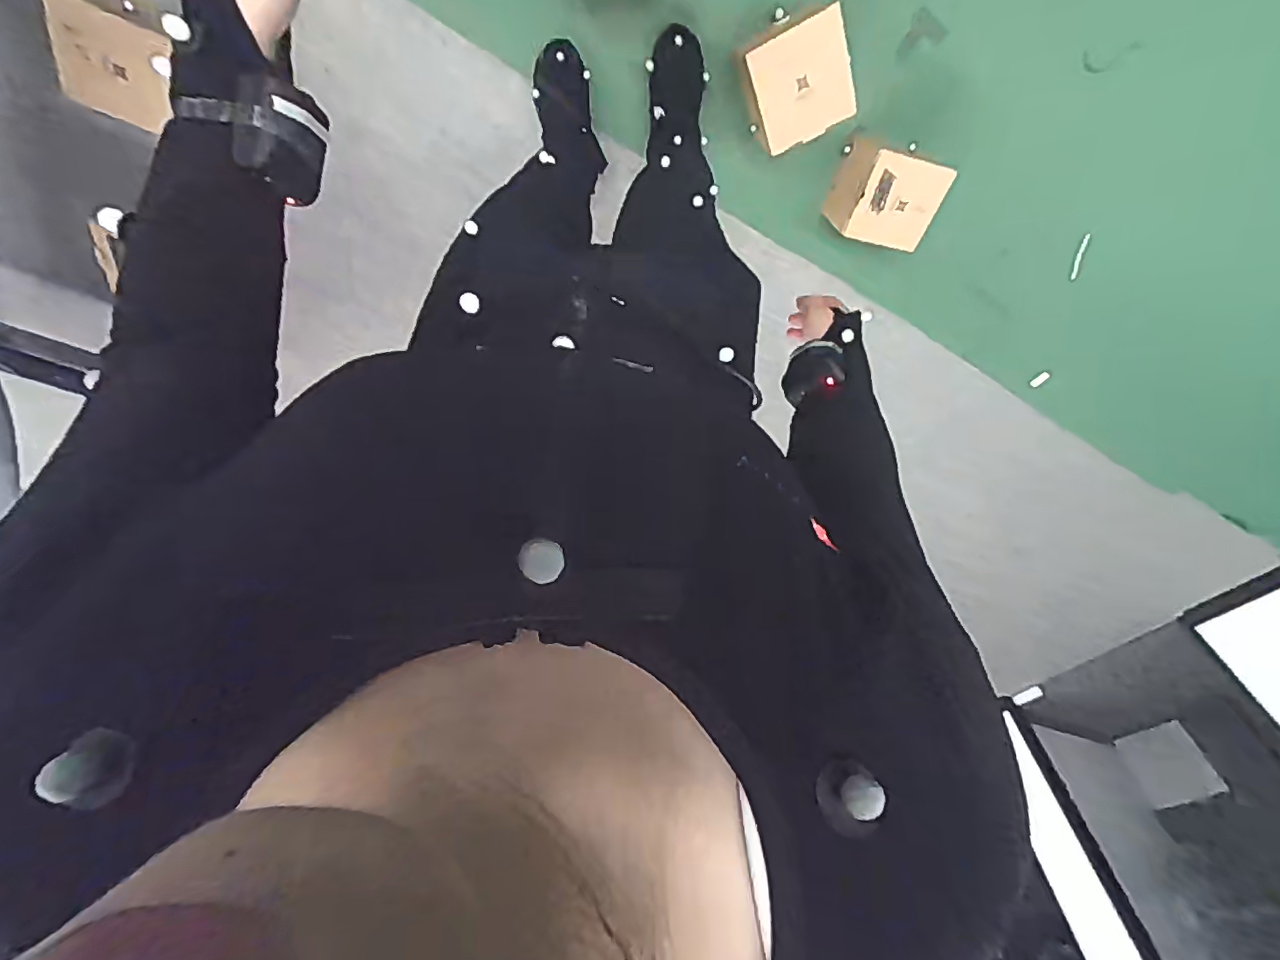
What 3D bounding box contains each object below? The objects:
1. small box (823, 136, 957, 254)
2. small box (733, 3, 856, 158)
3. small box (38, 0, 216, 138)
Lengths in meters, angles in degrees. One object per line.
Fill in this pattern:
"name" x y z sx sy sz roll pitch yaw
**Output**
"small box" 0.523 -0.617 1.163 0.179 0.176 0.168 8 133 -12
"small box" 0.288 -0.754 1.019 0.168 0.176 0.179 -21 131 16
"small box" -0.889 -0.753 0.961 0.179 0.176 0.168 17 130 -19
